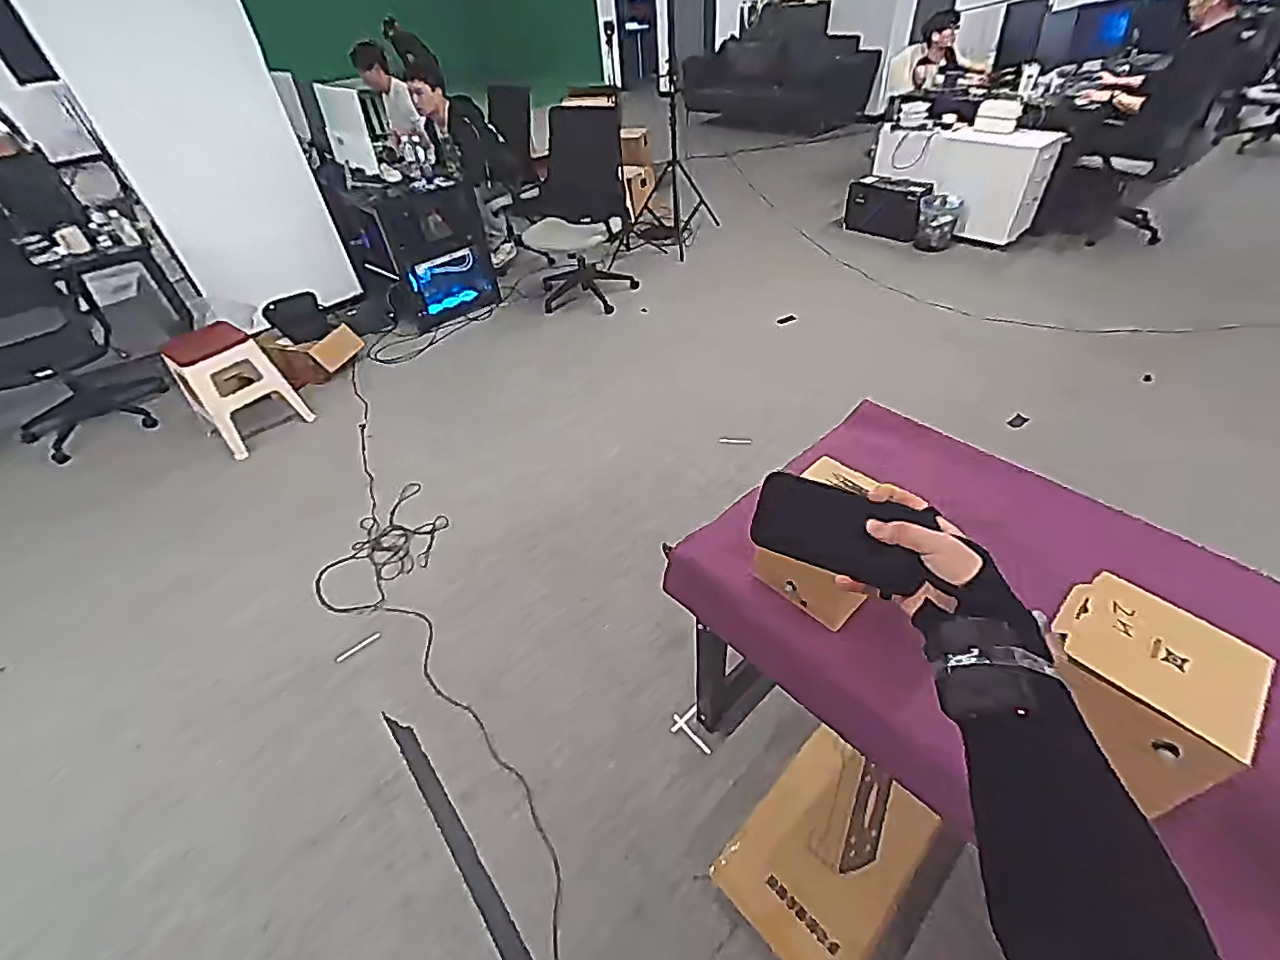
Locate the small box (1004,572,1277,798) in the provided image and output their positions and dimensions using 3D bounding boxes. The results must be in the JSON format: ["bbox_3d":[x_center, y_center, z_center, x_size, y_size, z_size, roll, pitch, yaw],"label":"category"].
[{"bbox_3d":[0.602,0.256,0.669,0.168,0.176,0.179,-34,49,-30],"label":"small box"}]
